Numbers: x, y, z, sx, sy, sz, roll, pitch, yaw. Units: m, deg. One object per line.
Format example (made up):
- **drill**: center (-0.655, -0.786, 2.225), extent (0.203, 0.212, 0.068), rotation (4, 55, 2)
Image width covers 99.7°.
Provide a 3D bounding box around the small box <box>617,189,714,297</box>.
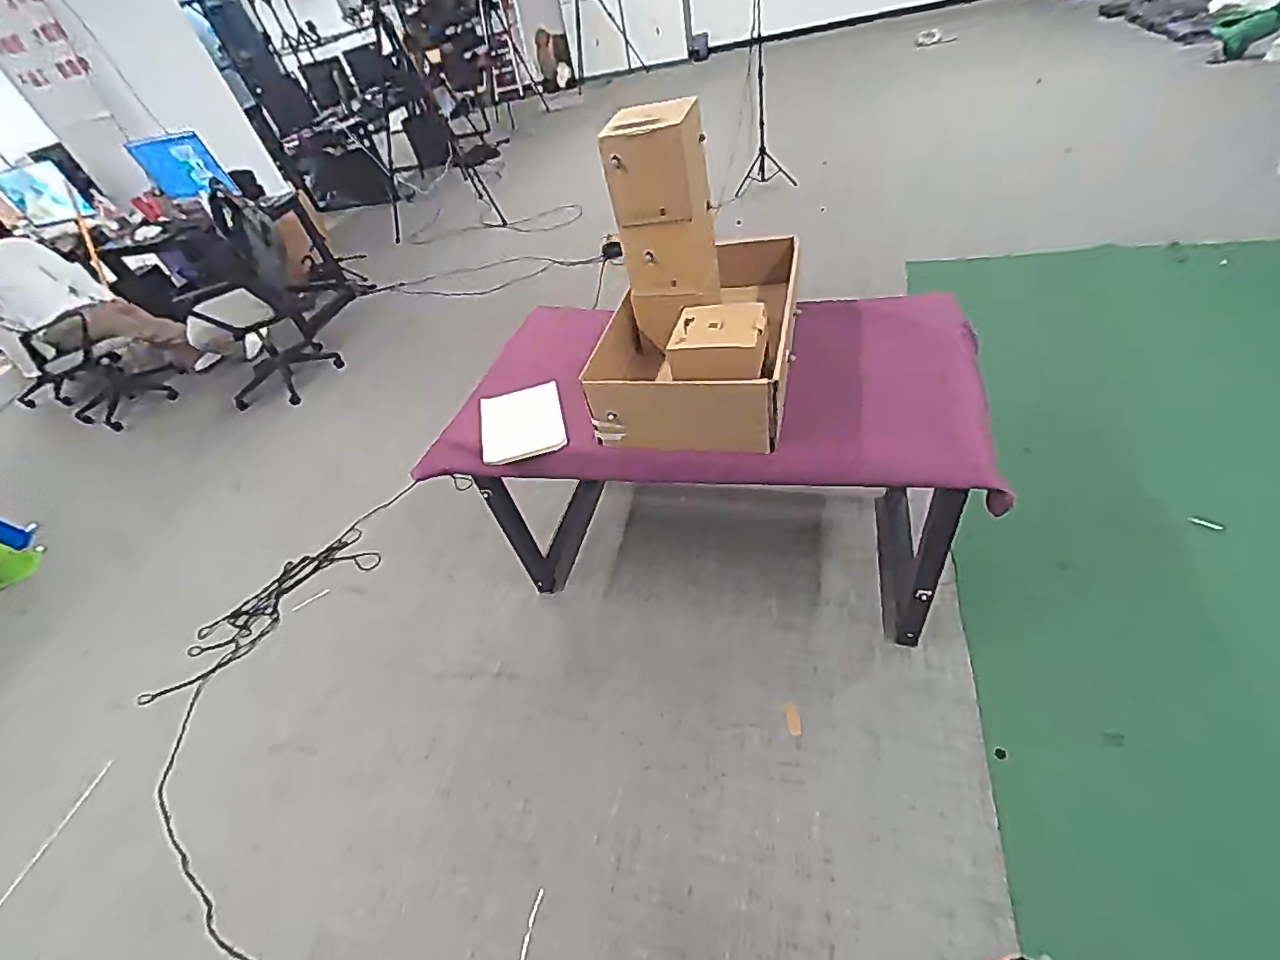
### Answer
- **small box**: center (0.067, -0.529, 1.224), extent (0.168, 0.176, 0.179), rotation (5, 49, 20)
